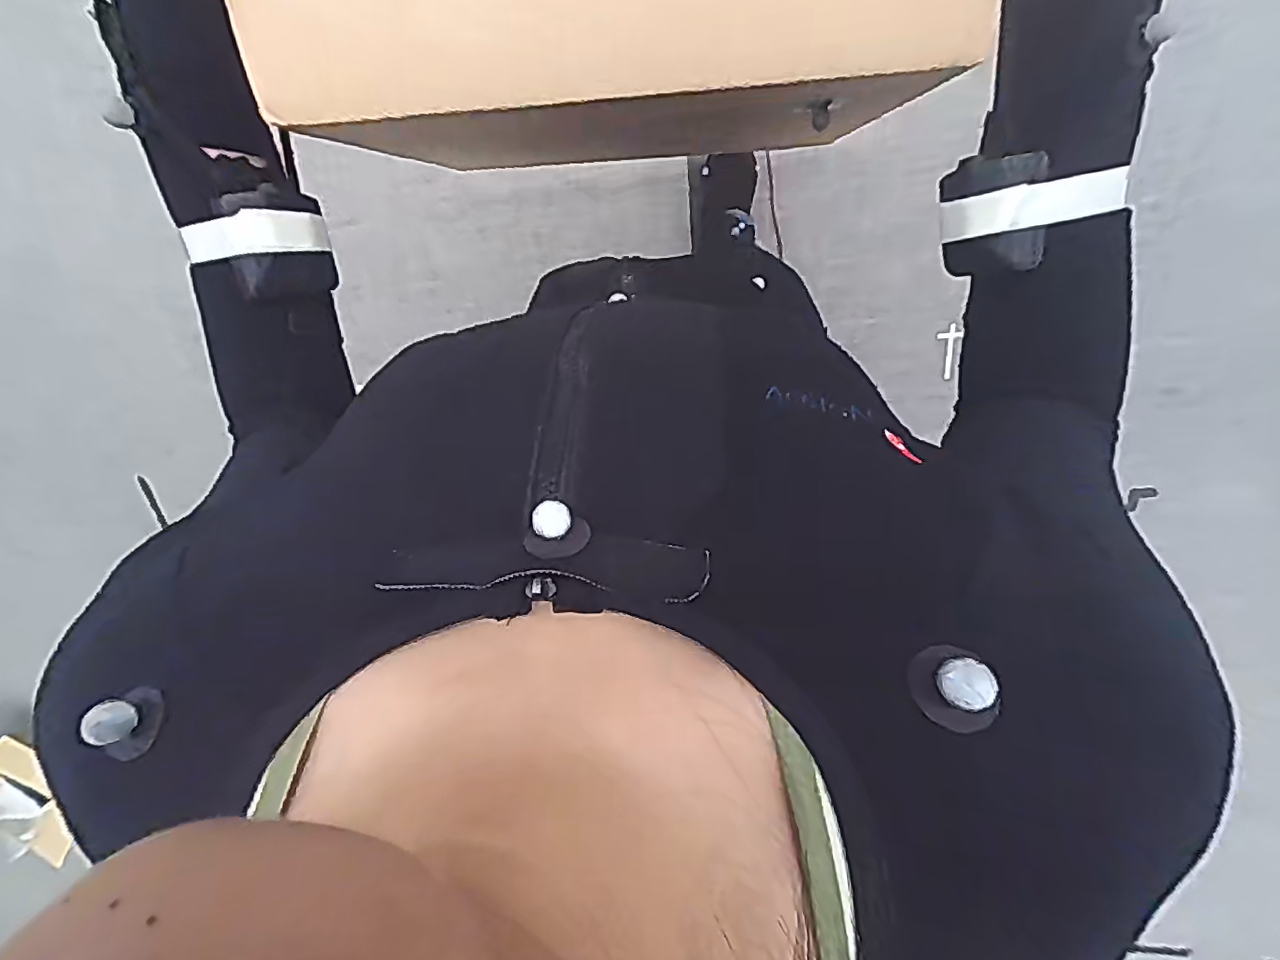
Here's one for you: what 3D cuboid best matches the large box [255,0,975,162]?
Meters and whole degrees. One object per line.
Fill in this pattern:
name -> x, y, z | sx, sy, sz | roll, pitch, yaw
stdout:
large box -> -0.017, -0.427, 0.382 | 0.408, 0.320, 0.320 | -2, 115, 5

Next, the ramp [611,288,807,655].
ramp -> 0.197, 0.019, 1.474 | 0.509, 0.206, 0.991 | -4, 112, 10
